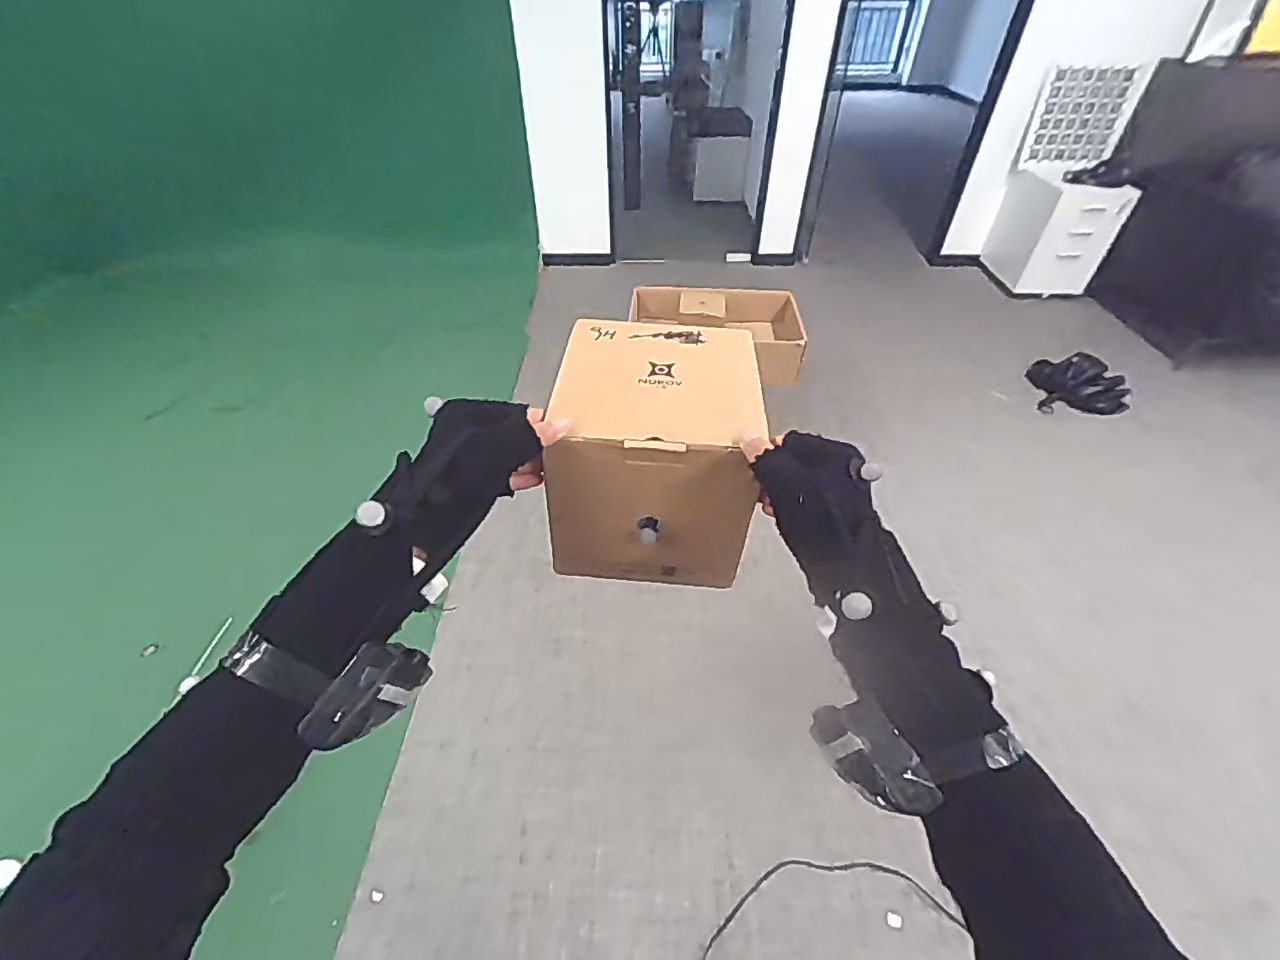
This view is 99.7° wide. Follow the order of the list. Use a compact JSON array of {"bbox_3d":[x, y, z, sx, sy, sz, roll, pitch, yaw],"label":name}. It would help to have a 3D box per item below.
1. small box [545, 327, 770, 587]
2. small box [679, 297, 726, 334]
[{"bbox_3d":[0.017,-0.020,0.498,0.168,0.176,0.179,4,44,1],"label":"small box"},{"bbox_3d":[0.230,-0.564,2.022,0.168,0.176,0.179,6,41,3],"label":"small box"}]
